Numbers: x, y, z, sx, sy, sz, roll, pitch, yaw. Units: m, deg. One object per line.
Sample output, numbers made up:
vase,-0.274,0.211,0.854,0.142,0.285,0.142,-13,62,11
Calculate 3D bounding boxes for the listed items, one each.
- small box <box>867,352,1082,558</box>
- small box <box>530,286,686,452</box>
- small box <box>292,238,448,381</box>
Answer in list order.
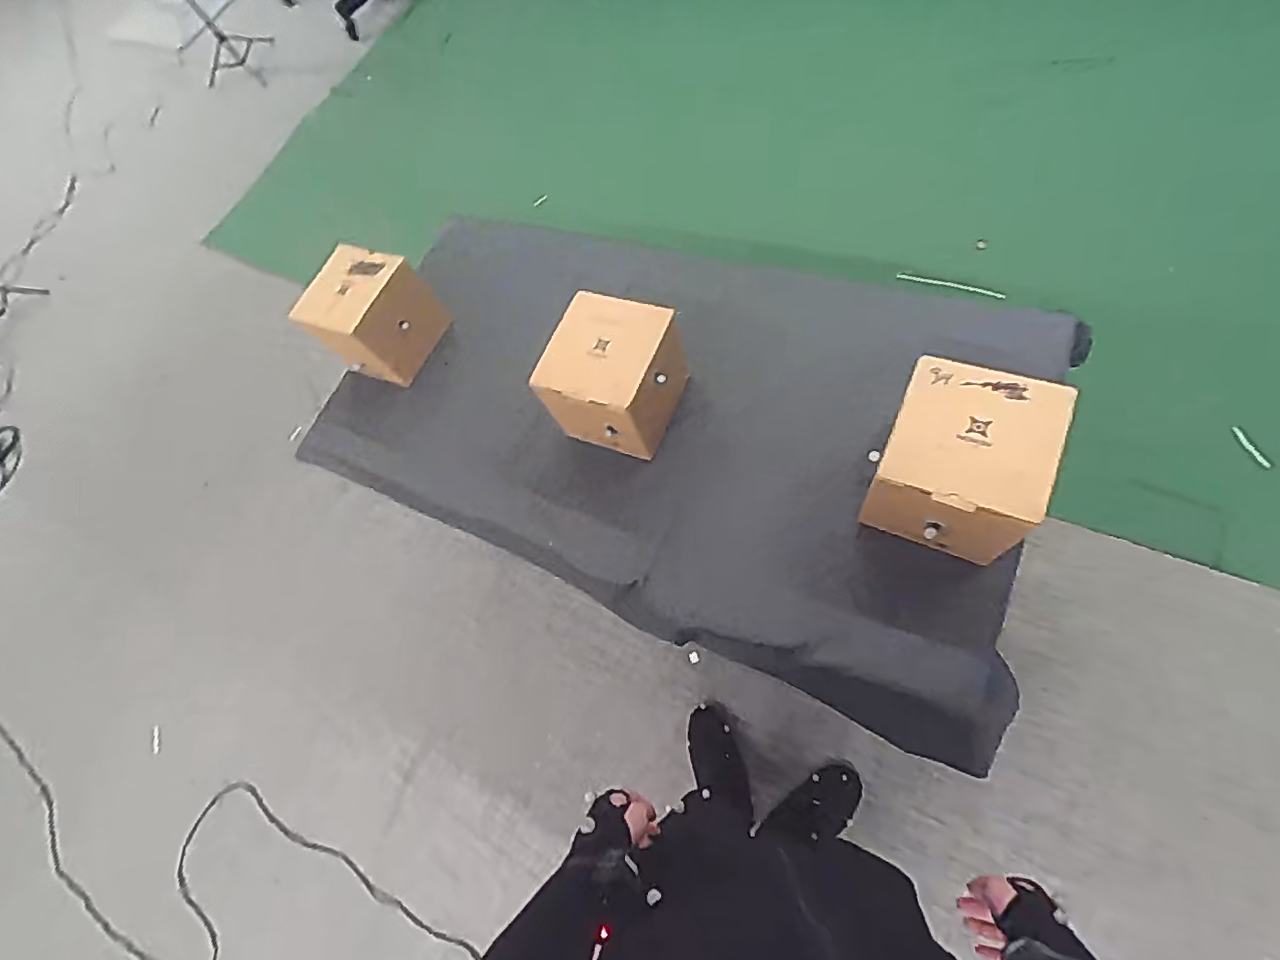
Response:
small box,0.394,-0.023,0.669,0.168,0.176,0.179,21,74,22
small box,-0.037,-0.167,0.846,0.168,0.176,0.179,19,72,20
small box,-0.497,-0.320,1.028,0.168,0.176,0.179,19,73,21
